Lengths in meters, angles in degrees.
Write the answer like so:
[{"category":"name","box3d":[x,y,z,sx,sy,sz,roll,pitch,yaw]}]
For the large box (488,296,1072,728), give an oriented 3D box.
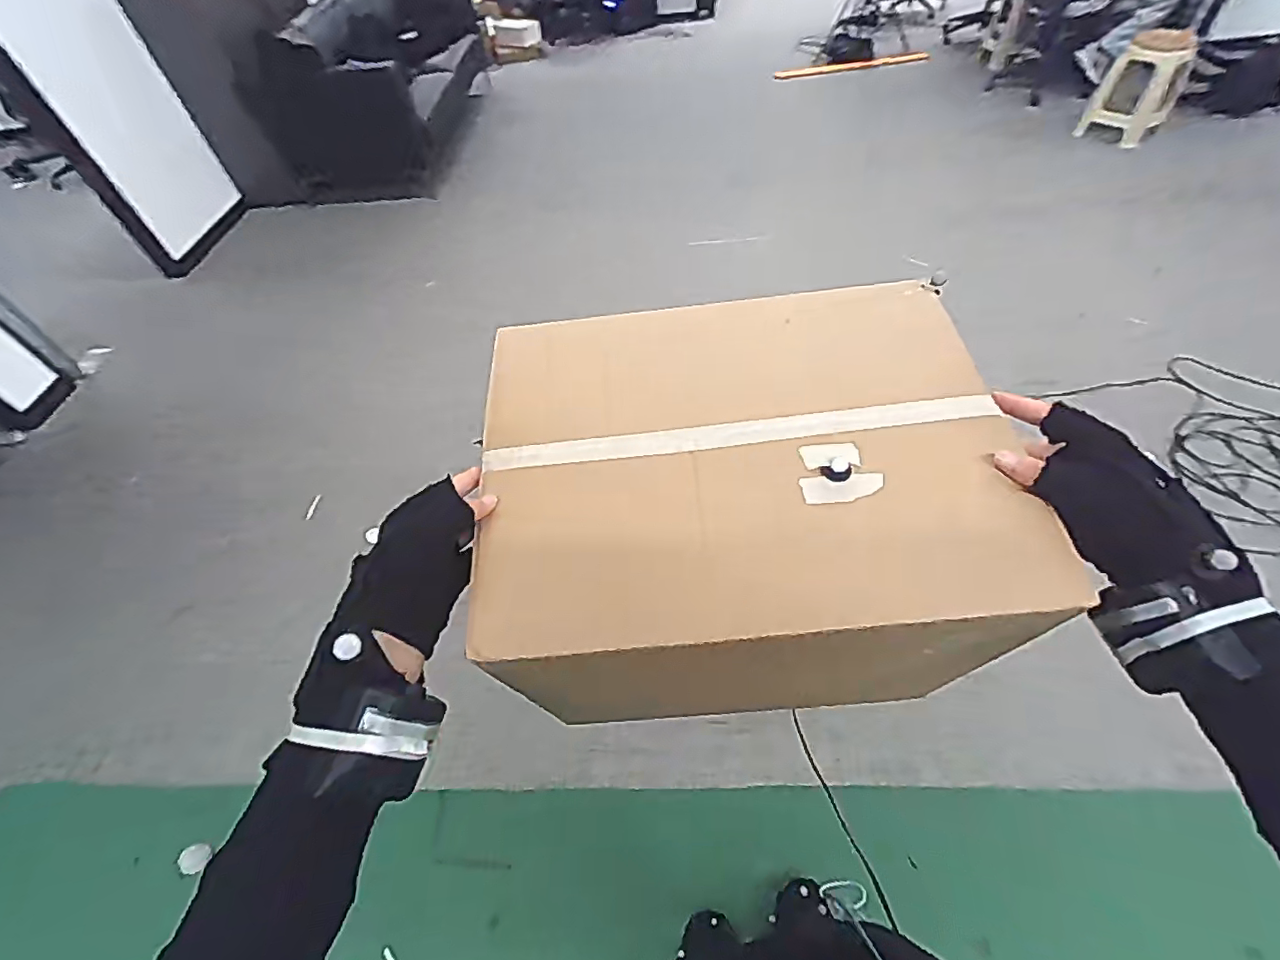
[{"category":"large box","box3d":[0.092,0.055,0.566,0.408,0.320,0.320,-6,58,3]}]
